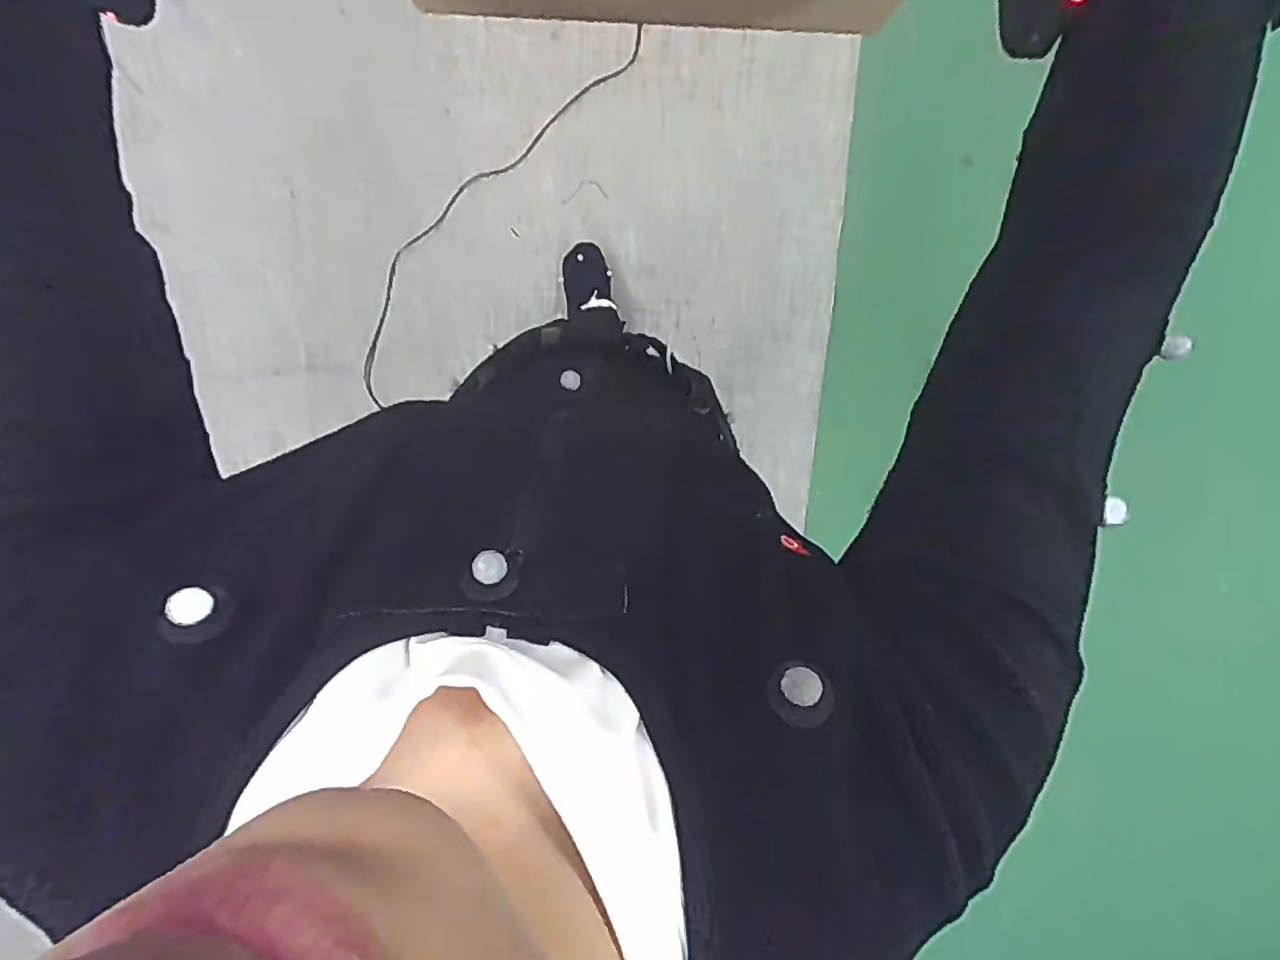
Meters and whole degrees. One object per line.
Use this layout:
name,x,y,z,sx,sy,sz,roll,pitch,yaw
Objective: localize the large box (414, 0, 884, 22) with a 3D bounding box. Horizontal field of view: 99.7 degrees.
large box,0.005,-0.500,0.285,0.408,0.320,0.320,2,109,0
